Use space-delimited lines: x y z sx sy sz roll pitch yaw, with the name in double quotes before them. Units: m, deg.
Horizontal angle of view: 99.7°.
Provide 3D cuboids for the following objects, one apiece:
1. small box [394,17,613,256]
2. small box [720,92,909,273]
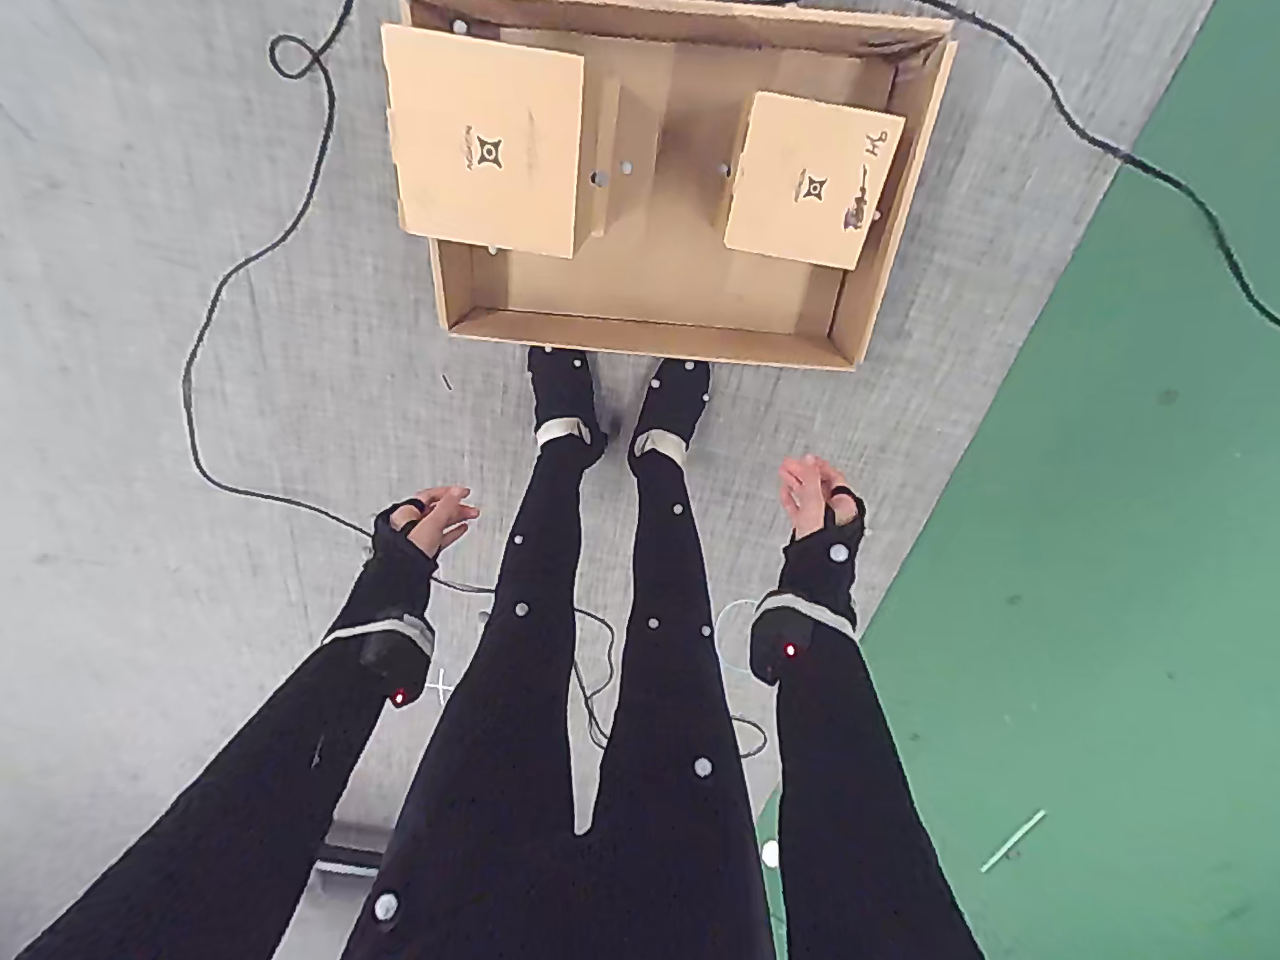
"small box" -0.131 -0.348 0.566 0.179 0.176 0.168 9 122 -3
"small box" 0.209 -0.387 0.712 0.179 0.176 0.168 11 121 -2
